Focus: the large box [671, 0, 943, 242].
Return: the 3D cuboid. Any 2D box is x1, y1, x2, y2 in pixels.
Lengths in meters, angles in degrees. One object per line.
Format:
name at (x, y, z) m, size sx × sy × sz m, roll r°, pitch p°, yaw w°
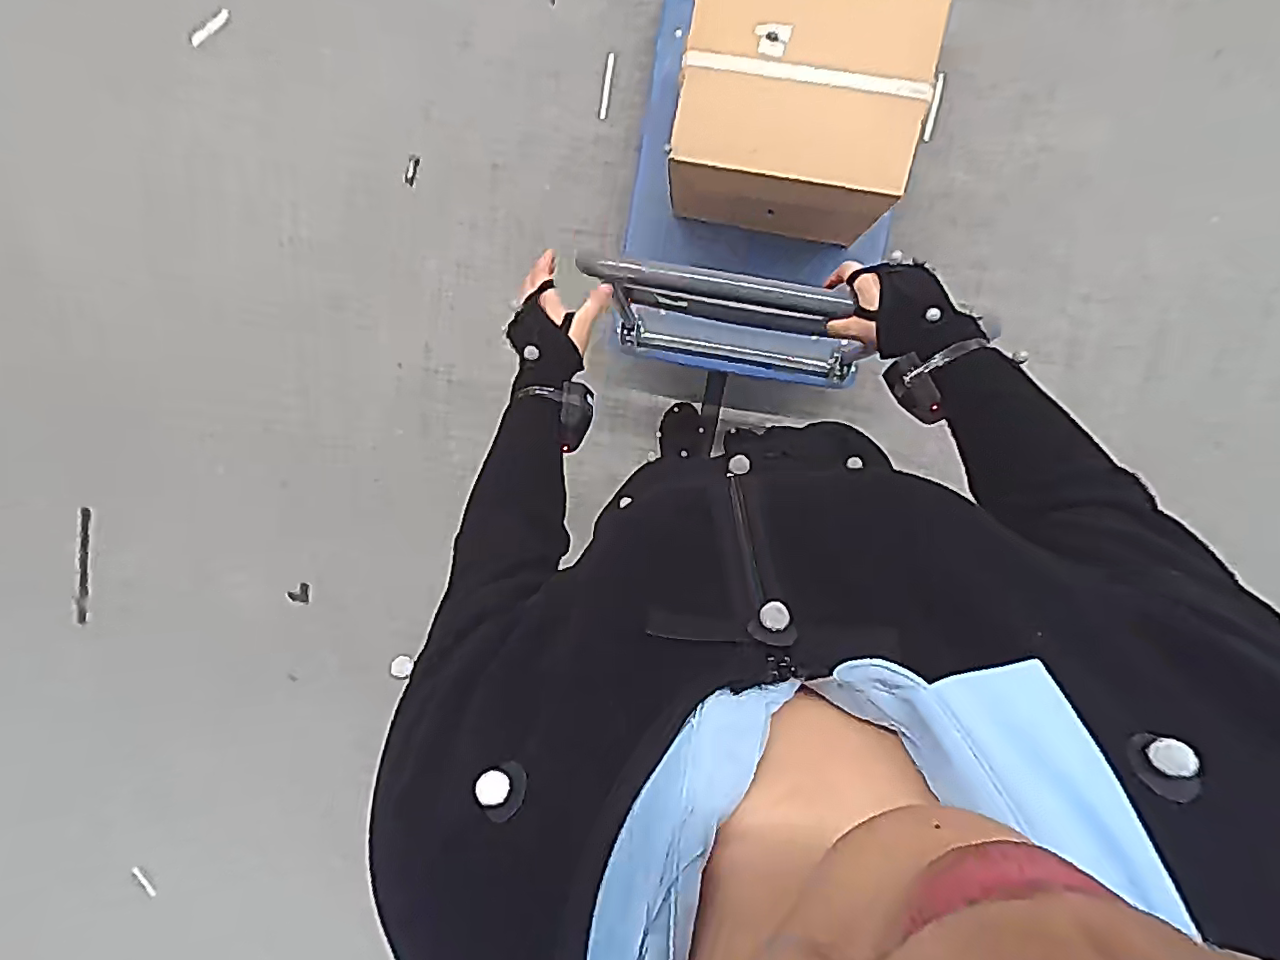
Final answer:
large box at (0.290, -0.689, 1.057) m, size 0.408 × 0.320 × 0.320 m, roll 11°, pitch 99°, yaw 5°
